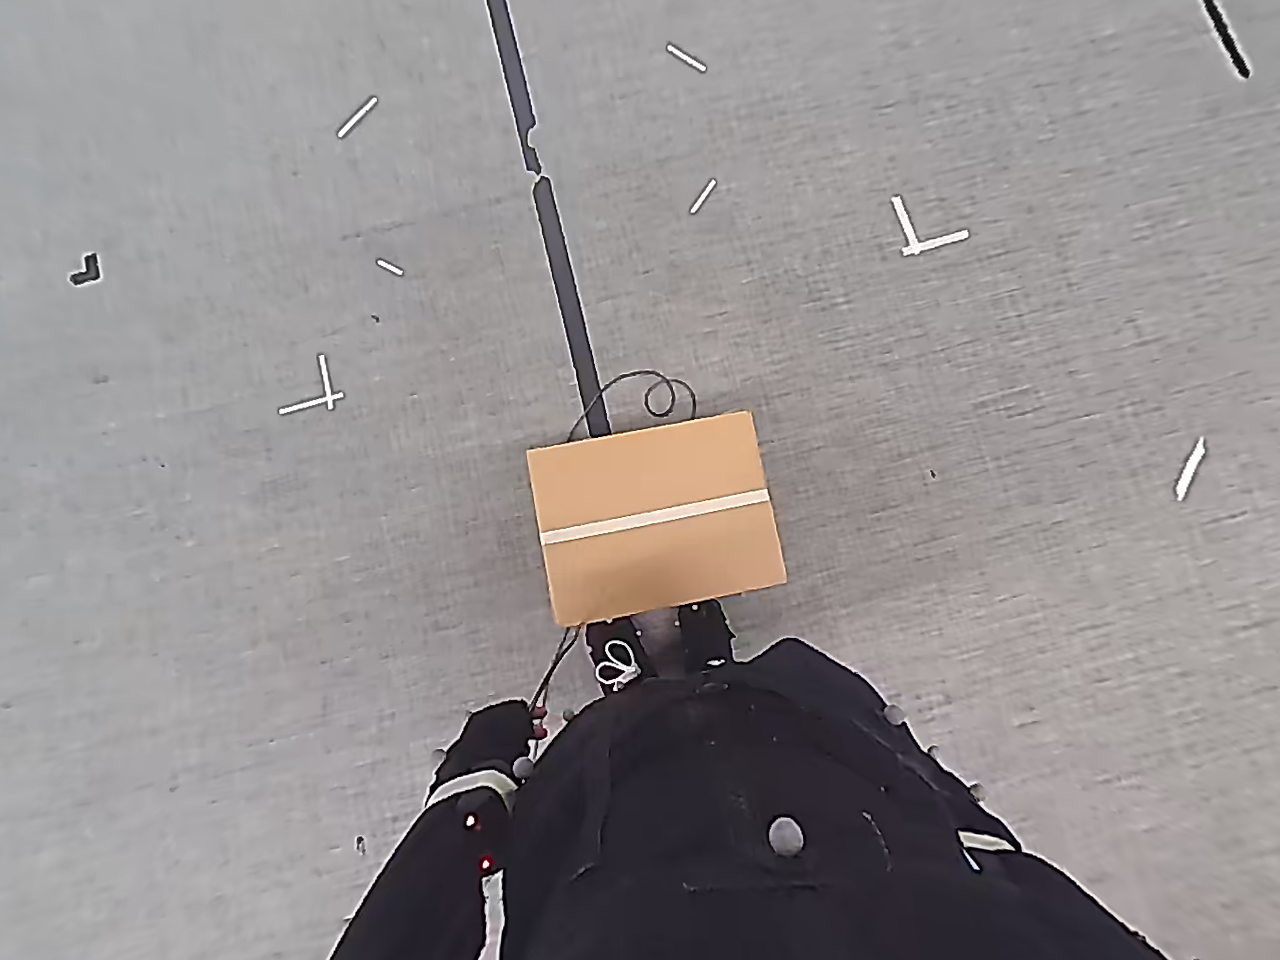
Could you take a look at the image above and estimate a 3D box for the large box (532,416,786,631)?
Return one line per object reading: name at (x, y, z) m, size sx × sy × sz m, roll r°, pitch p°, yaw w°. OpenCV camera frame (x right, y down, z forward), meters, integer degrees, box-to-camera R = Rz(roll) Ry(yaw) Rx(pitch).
large box at (0.028, 0.089, 1.090) m, size 0.408 × 0.320 × 0.320 m, roll -11°, pitch 82°, yaw -3°
